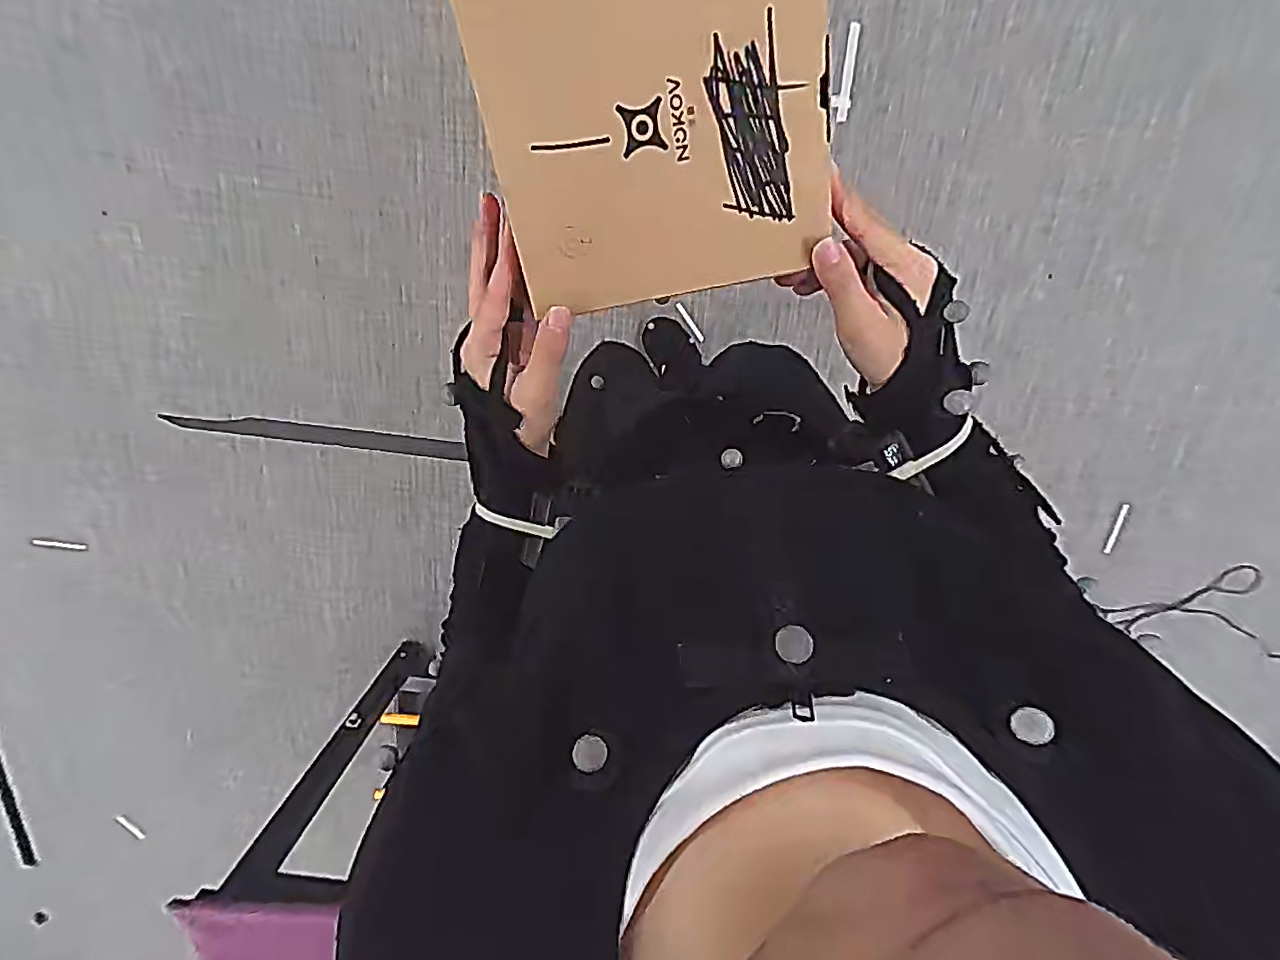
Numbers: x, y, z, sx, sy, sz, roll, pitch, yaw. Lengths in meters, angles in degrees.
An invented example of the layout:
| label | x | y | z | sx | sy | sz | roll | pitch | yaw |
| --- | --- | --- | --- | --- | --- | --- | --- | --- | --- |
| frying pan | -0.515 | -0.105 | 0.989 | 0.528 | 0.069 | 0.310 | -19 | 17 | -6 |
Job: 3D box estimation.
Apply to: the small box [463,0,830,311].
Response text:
| label | x | y | z | sx | sy | sz | roll | pitch | yaw |
| --- | --- | --- | --- | --- | --- | --- | --- | --- | --- |
| small box | 0.009 | -0.221 | 0.353 | 0.179 | 0.176 | 0.168 | -9 | 117 | 3 |
